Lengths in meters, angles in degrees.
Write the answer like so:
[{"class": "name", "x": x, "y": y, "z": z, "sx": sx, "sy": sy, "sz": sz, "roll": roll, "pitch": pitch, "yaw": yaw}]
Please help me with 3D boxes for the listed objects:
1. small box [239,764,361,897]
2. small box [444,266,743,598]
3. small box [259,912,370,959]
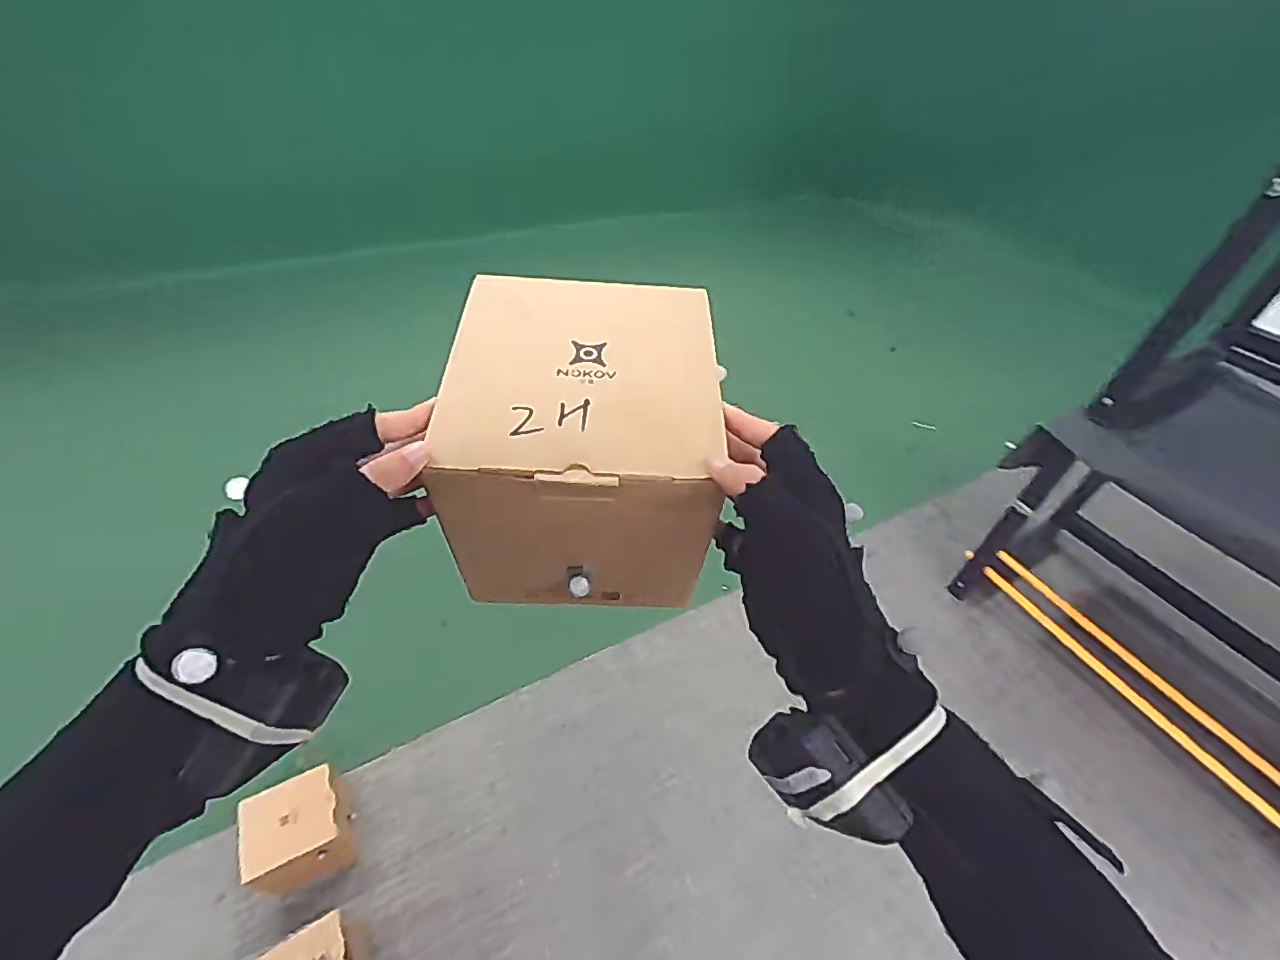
[{"class": "small box", "x": -0.739, "y": 0.767, "z": 1.181, "sx": 0.179, "sy": 0.176, "sz": 0.168, "roll": -19, "pitch": 49, "yaw": -23}, {"class": "small box", "x": -0.029, "y": -0.032, "z": 0.404, "sx": 0.168, "sy": 0.176, "sz": 0.179, "roll": 3, "pitch": 52, "yaw": -2}, {"class": "small box", "x": -0.603, "y": 0.951, "z": 0.997, "sx": 0.179, "sy": 0.176, "sz": 0.168, "roll": -23, "pitch": 49, "yaw": -25}]
